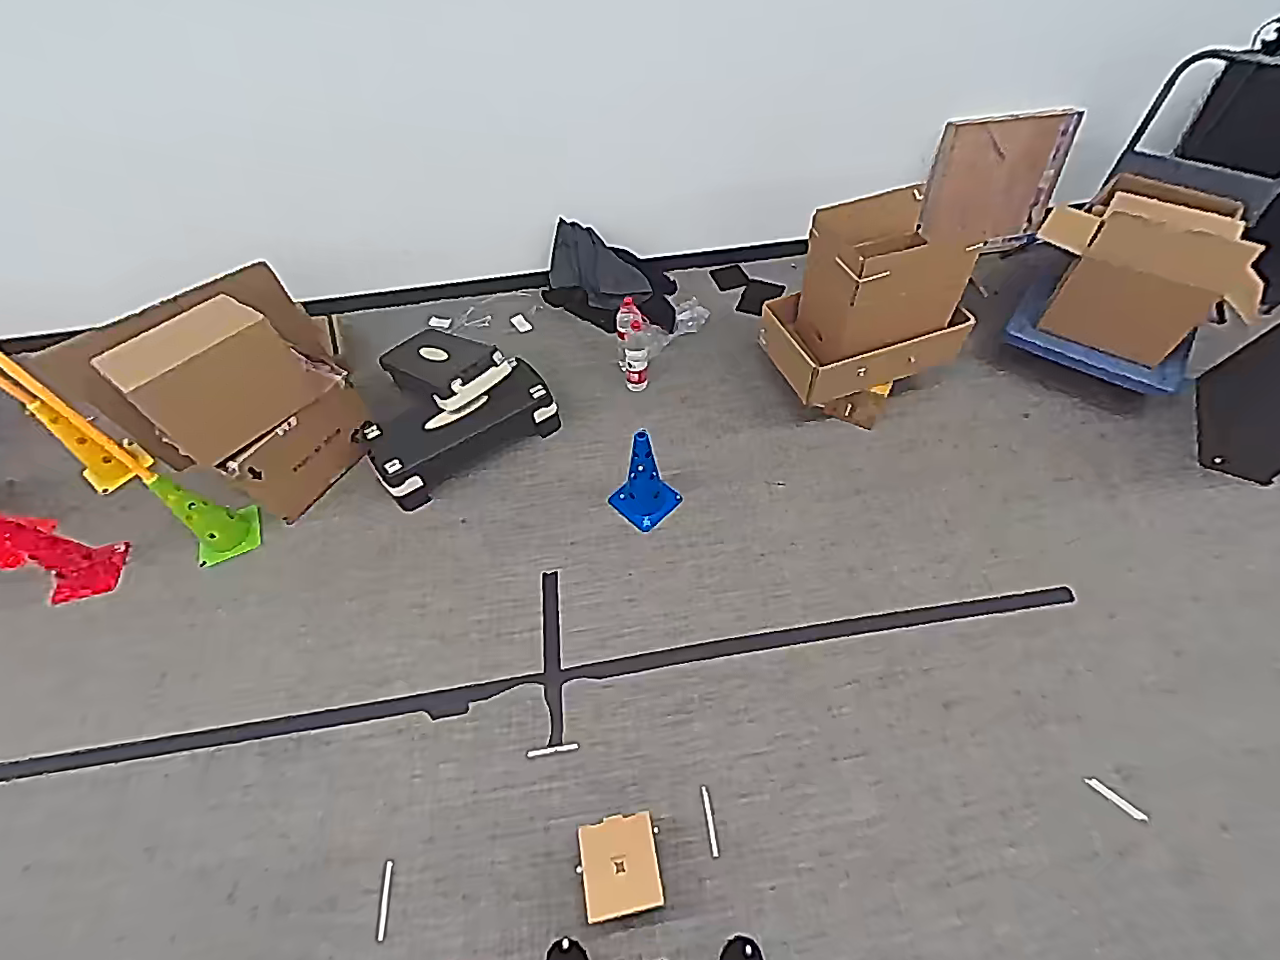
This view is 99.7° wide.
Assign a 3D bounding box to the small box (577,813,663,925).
[{"bbox_3d":[-0.043,0.885,1.239,0.168,0.176,0.179,-10,54,-5],"label":"small box"}]
